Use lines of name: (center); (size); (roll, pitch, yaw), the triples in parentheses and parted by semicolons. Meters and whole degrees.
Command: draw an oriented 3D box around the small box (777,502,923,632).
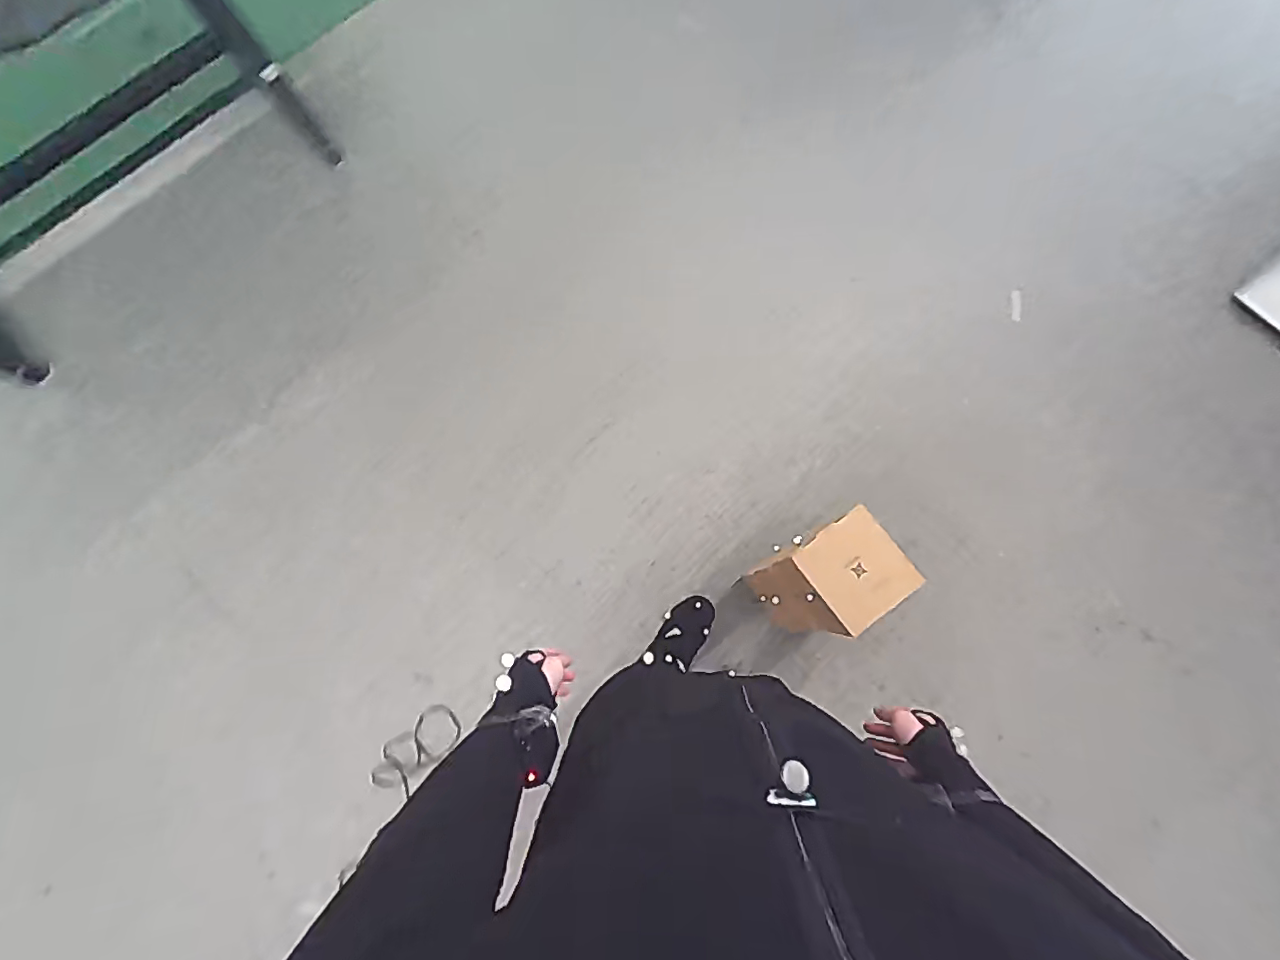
small box: (0.387, 0.169, 1.035); (0.168, 0.176, 0.179); (-36, 80, -5)

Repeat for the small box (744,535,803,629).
small box: (0.383, 0.251, 1.351); (0.179, 0.176, 0.168); (-35, 79, -6)

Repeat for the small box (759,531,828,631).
small box: (0.386, 0.211, 1.191); (0.179, 0.176, 0.168); (-34, 78, -5)
